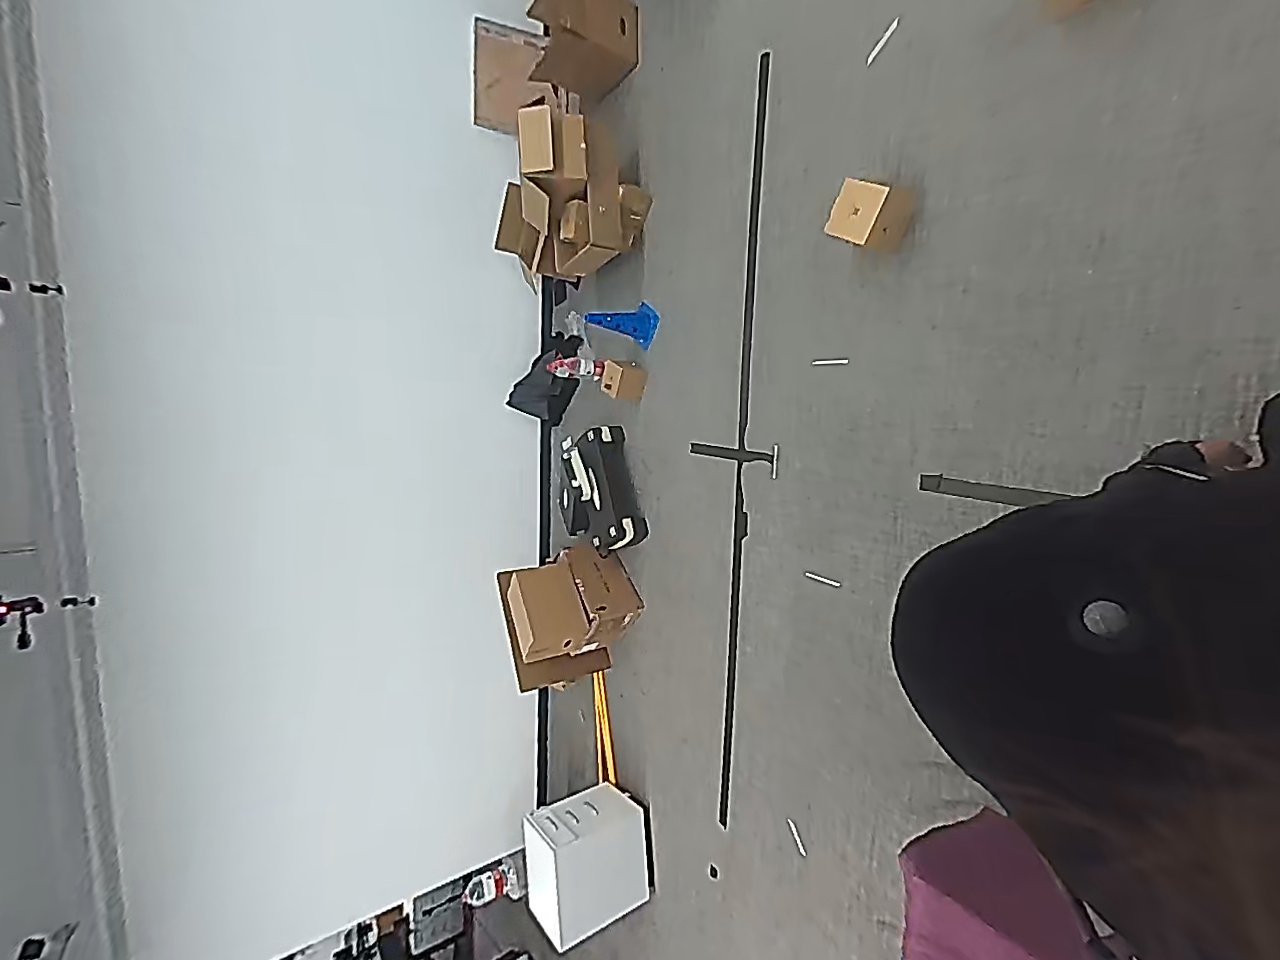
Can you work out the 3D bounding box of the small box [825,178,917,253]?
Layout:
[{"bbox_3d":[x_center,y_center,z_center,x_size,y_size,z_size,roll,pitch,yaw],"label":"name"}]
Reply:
[{"bbox_3d":[0.731,-0.831,1.707,0.179,0.176,0.168,49,130,43],"label":"small box"}]
